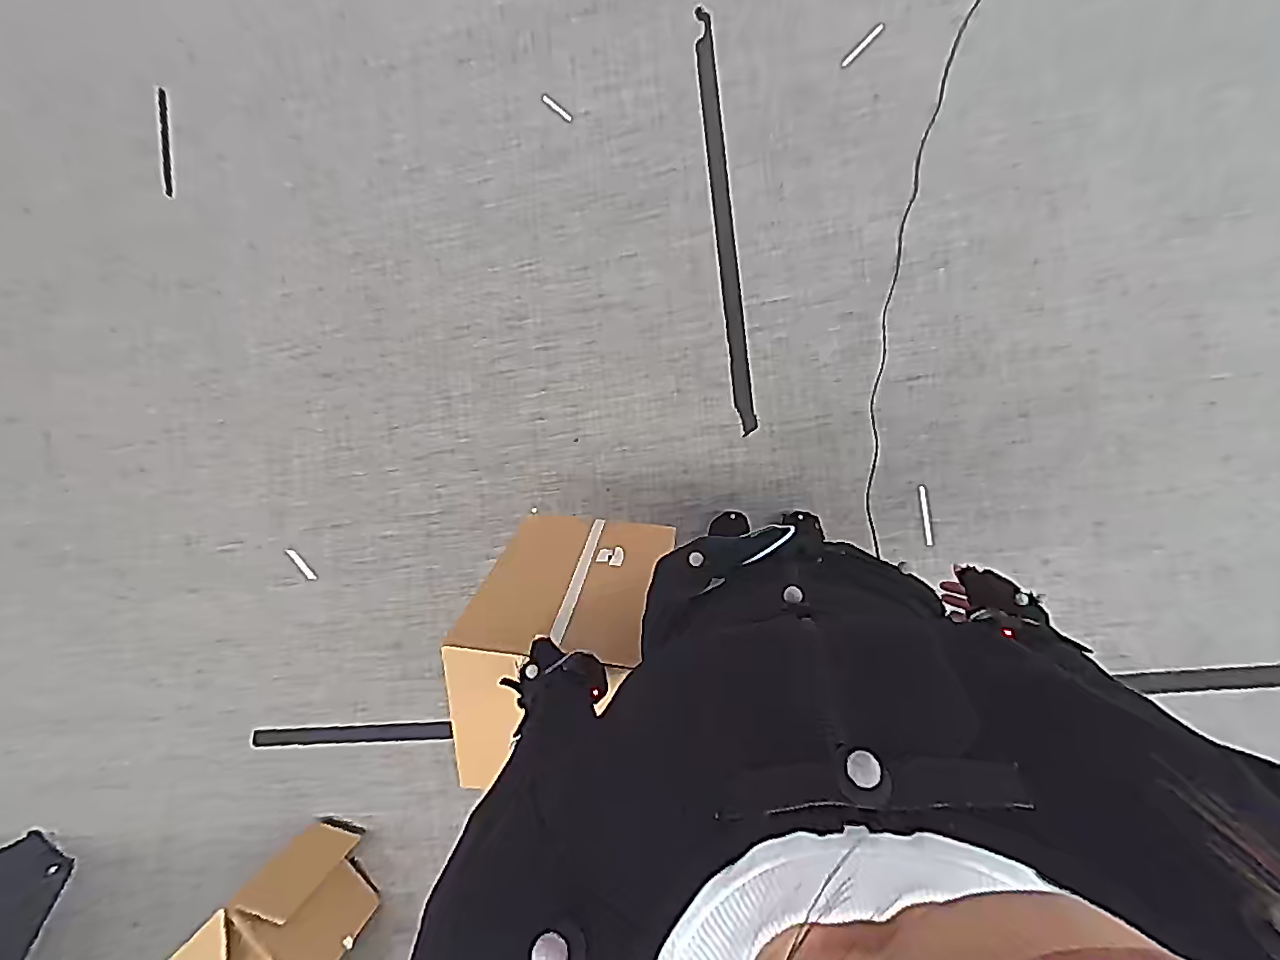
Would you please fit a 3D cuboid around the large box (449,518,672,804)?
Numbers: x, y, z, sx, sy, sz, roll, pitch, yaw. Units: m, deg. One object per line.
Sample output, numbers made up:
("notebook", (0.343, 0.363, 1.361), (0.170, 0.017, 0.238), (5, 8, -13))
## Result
("large box", (-0.113, 0.309, 1.014), (0.320, 0.408, 0.320), (6, 115, 6))
